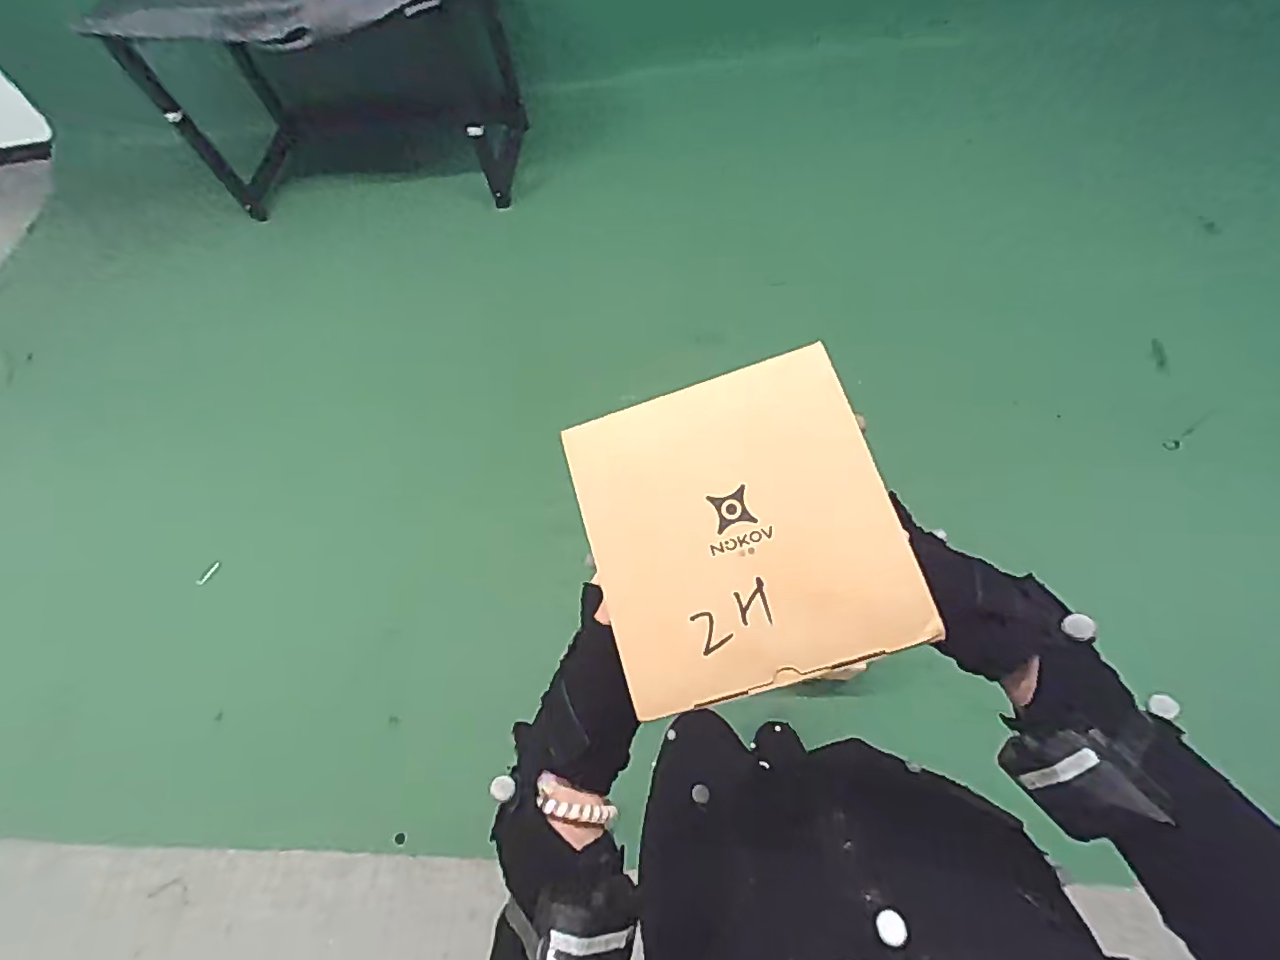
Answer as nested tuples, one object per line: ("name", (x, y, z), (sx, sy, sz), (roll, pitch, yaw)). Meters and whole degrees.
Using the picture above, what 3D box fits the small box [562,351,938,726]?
("small box", (0.064, 0.045, 0.377), (0.168, 0.176, 0.179), (-19, 75, 6))
